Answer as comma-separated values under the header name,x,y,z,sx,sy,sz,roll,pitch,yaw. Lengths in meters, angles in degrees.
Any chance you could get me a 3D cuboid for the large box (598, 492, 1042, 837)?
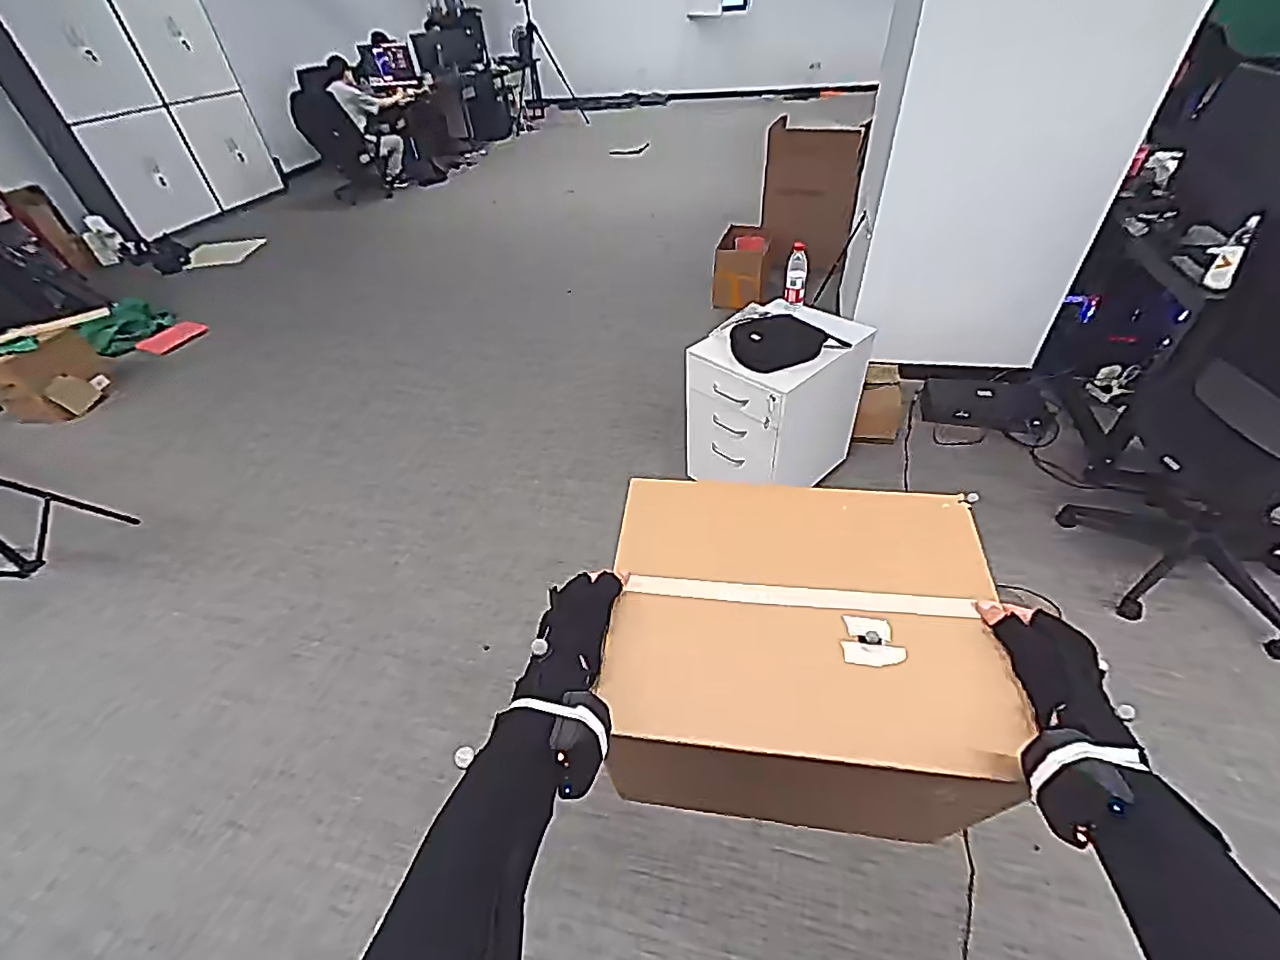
name,x,y,z,sx,sy,sz,roll,pitch,yaw
large box,0.179,0.235,0.699,0.408,0.320,0.320,3,50,8
